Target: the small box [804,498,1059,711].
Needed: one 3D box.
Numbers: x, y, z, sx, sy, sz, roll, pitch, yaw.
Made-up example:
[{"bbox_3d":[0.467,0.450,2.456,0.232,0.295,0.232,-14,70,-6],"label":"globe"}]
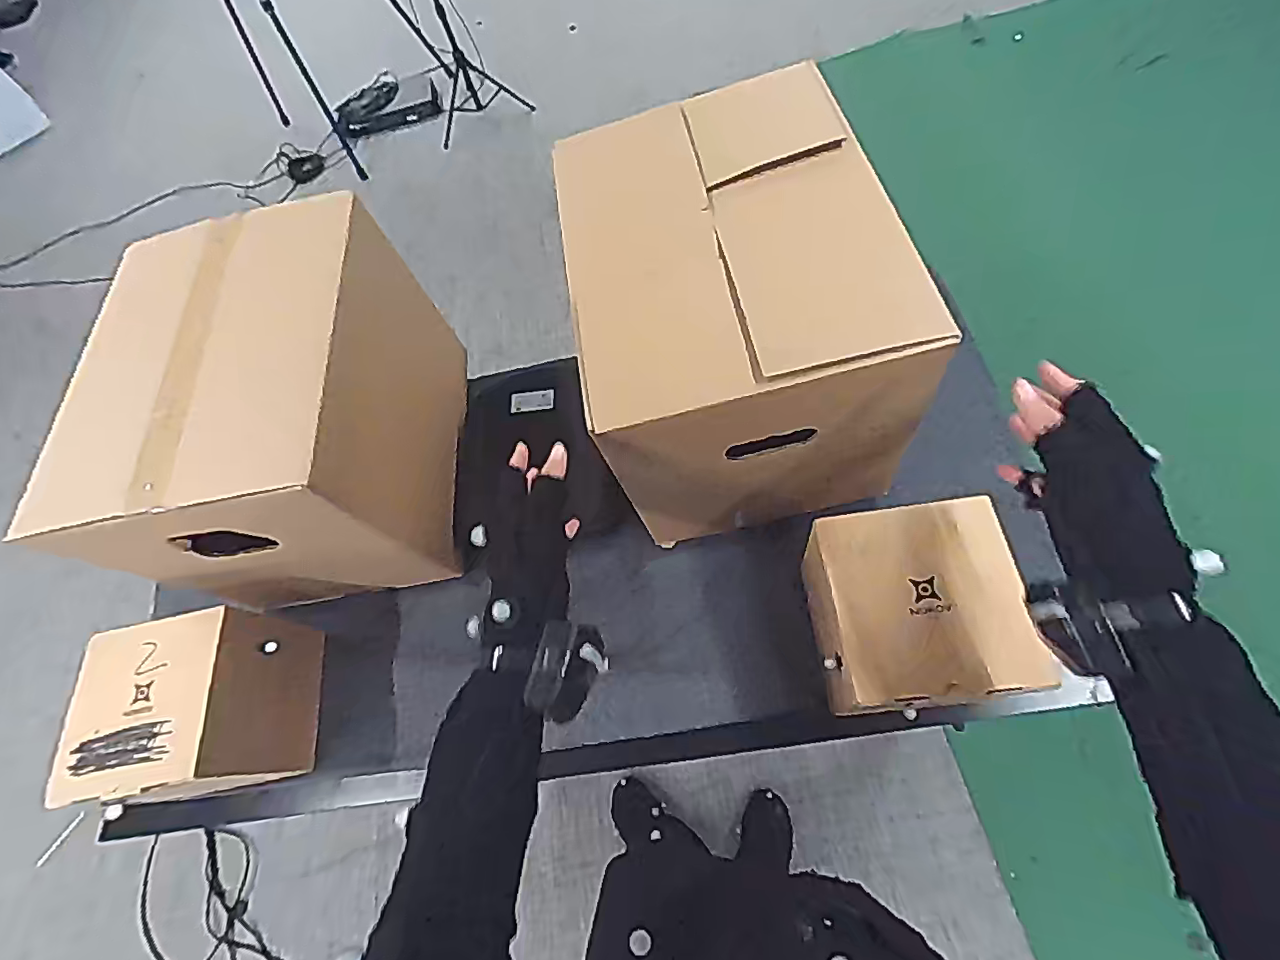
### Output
[{"bbox_3d":[0.275,0.138,0.564,0.168,0.176,0.179,-8,65,7],"label":"small box"}]
